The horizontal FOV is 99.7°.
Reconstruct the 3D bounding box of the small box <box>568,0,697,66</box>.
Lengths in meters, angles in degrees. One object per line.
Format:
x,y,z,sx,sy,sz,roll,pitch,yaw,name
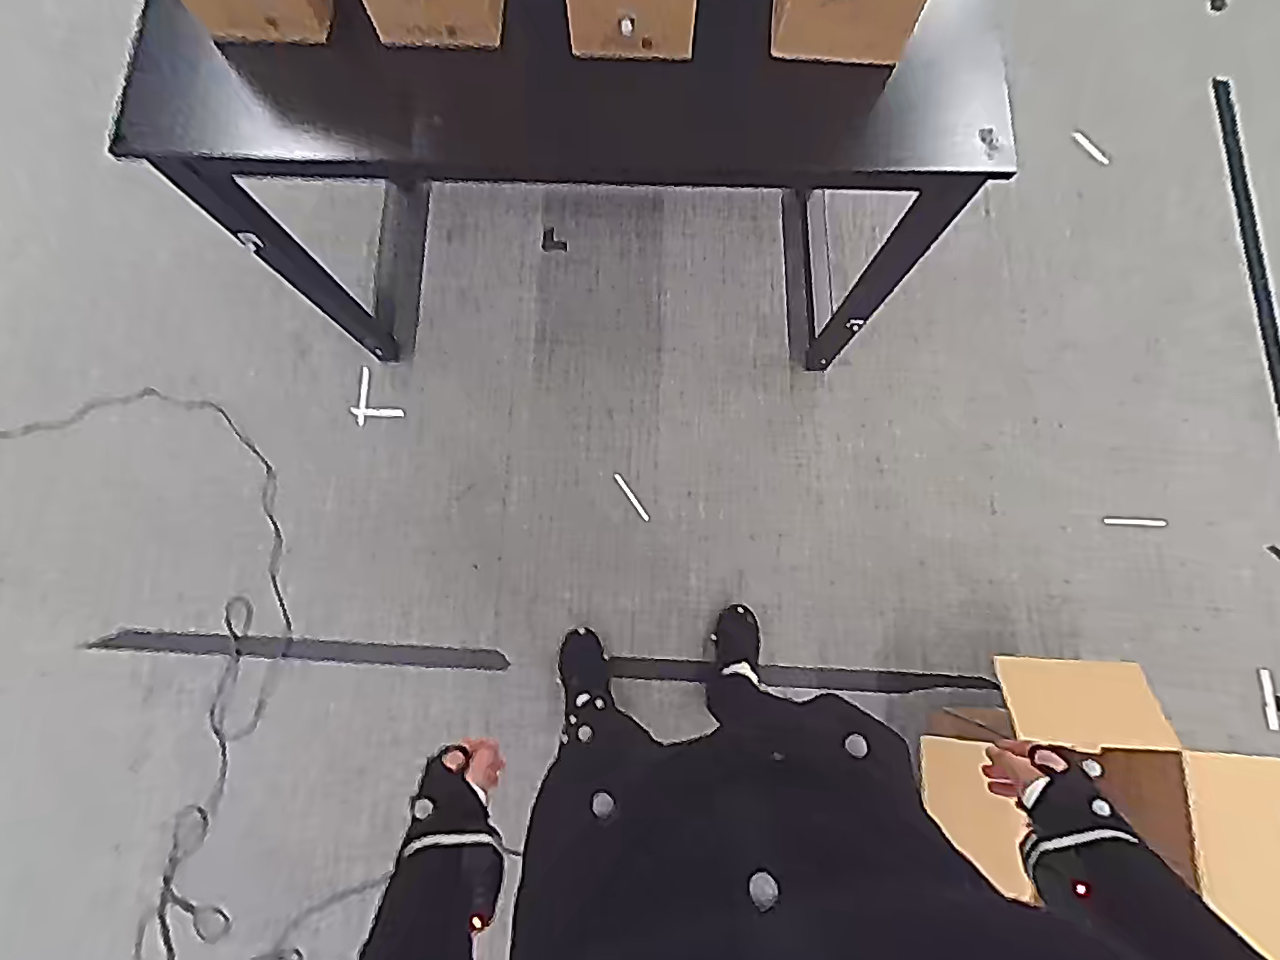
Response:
-0.008,-0.679,0.687,0.168,0.176,0.179,2,80,1,small box

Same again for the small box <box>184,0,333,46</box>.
-0.512,-0.703,0.693,0.168,0.176,0.179,1,78,-1,small box

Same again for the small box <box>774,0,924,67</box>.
0.273,-0.667,0.685,0.179,0.176,0.168,4,79,2,small box

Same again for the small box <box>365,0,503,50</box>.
-0.272,-0.696,0.690,0.168,0.176,0.179,2,79,0,small box
